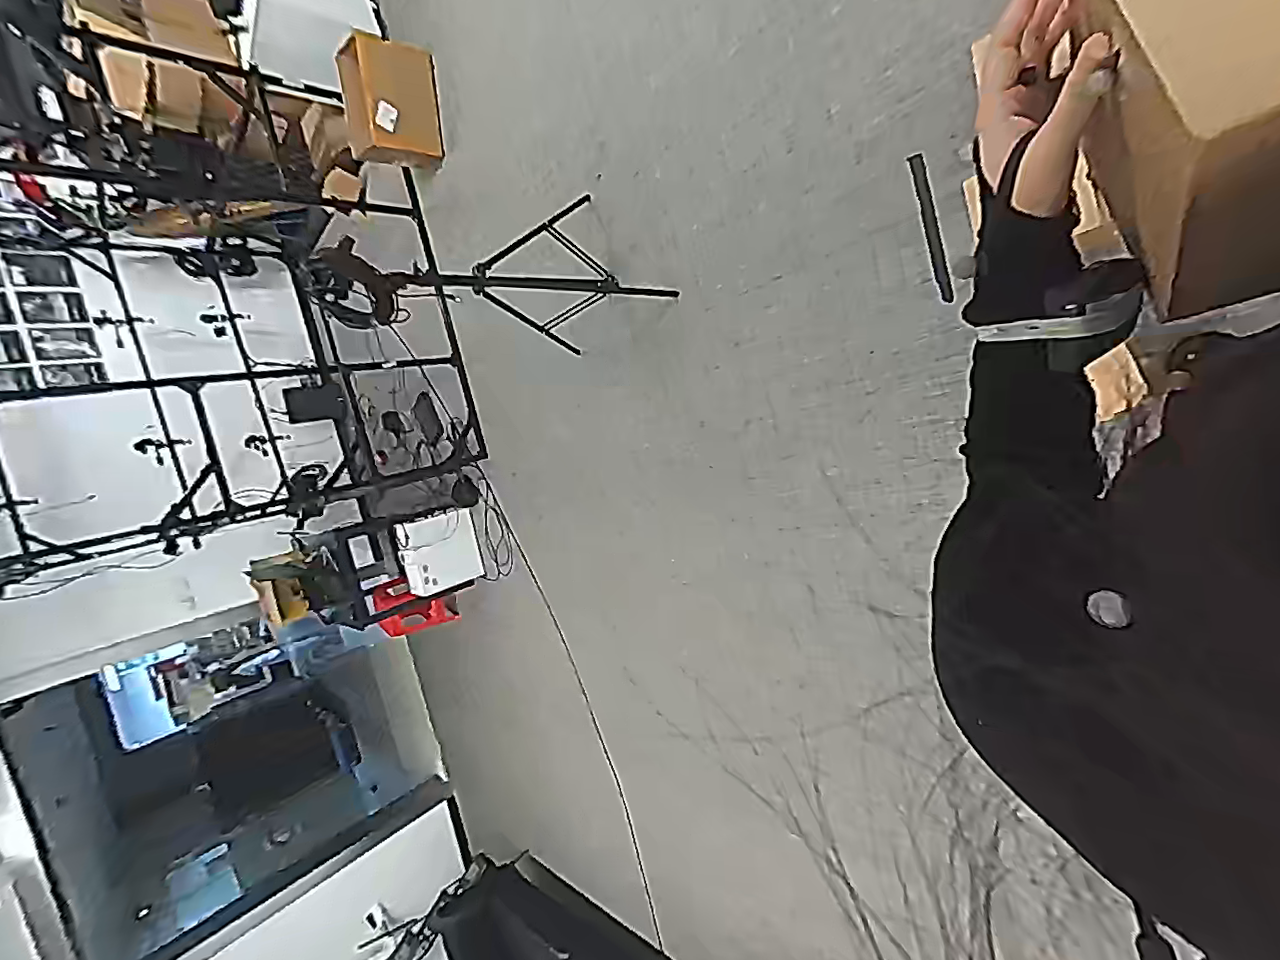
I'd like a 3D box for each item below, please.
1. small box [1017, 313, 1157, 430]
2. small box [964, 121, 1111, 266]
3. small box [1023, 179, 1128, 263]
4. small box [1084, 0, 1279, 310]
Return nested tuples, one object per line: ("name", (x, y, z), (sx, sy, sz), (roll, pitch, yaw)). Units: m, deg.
("small box", (0.917, -0.224, 1.105), (0.168, 0.176, 0.179), (-28, 84, 47))
("small box", (0.718, -0.500, 0.970), (0.179, 0.176, 0.168), (-10, 96, 48))
("small box", (0.839, -0.542, 1.073), (0.179, 0.176, 0.168), (-5, 100, 47))
("small box", (0.337, -0.219, 0.259), (0.168, 0.176, 0.179), (-18, 63, 35))
